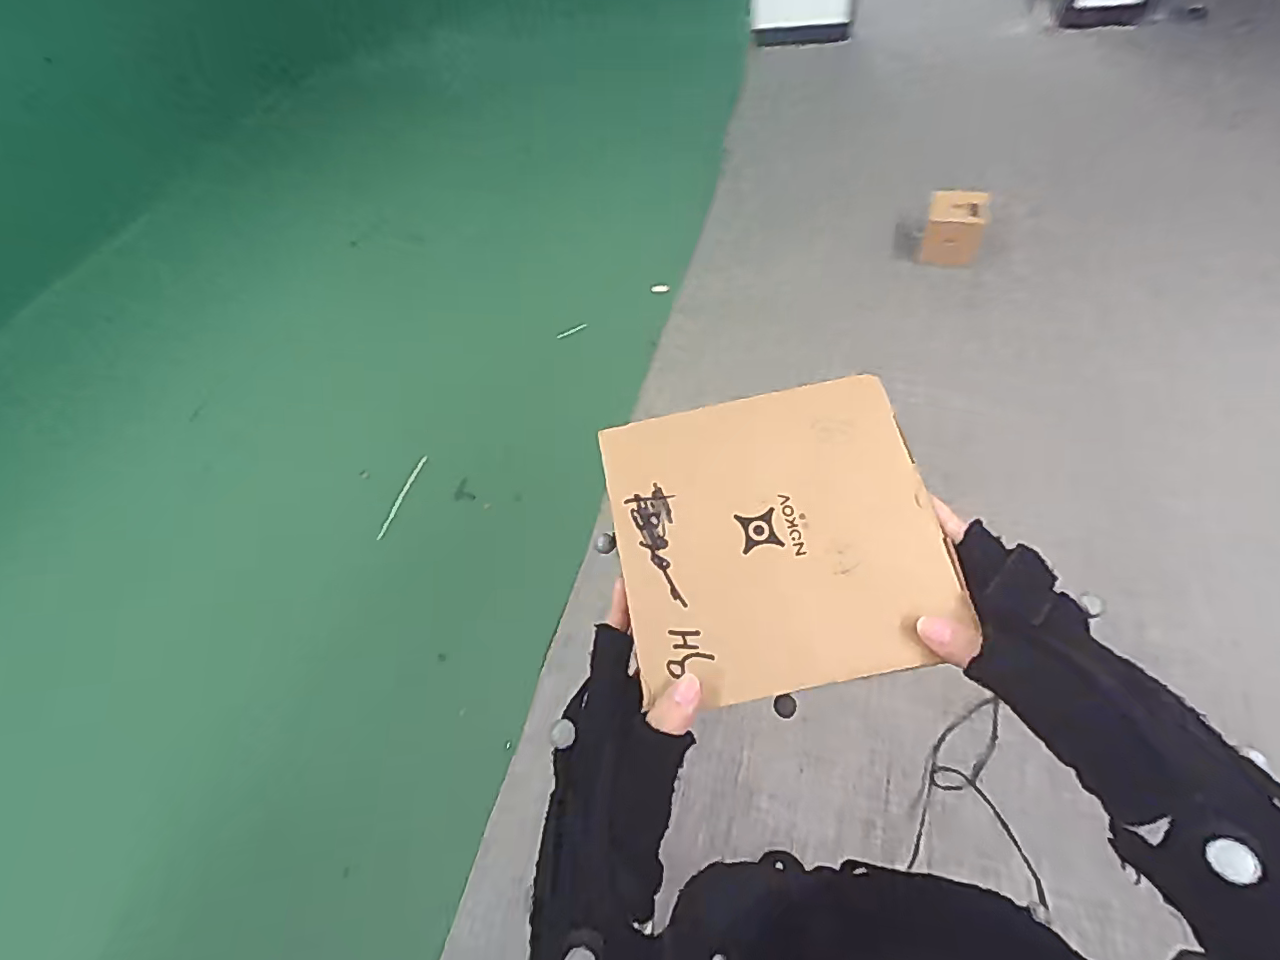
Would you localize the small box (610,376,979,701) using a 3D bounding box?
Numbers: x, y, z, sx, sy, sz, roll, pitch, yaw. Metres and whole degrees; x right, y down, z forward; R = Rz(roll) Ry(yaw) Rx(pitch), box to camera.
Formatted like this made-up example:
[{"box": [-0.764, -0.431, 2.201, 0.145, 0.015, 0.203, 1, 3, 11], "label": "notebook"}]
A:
[{"box": [0.082, 0.053, 0.377, 0.179, 0.176, 0.168, -10, 68, 1], "label": "small box"}]

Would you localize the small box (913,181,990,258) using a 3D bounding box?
[{"box": [1.051, -0.879, 1.830, 0.179, 0.176, 0.168, 15, 63, 19], "label": "small box"}]
